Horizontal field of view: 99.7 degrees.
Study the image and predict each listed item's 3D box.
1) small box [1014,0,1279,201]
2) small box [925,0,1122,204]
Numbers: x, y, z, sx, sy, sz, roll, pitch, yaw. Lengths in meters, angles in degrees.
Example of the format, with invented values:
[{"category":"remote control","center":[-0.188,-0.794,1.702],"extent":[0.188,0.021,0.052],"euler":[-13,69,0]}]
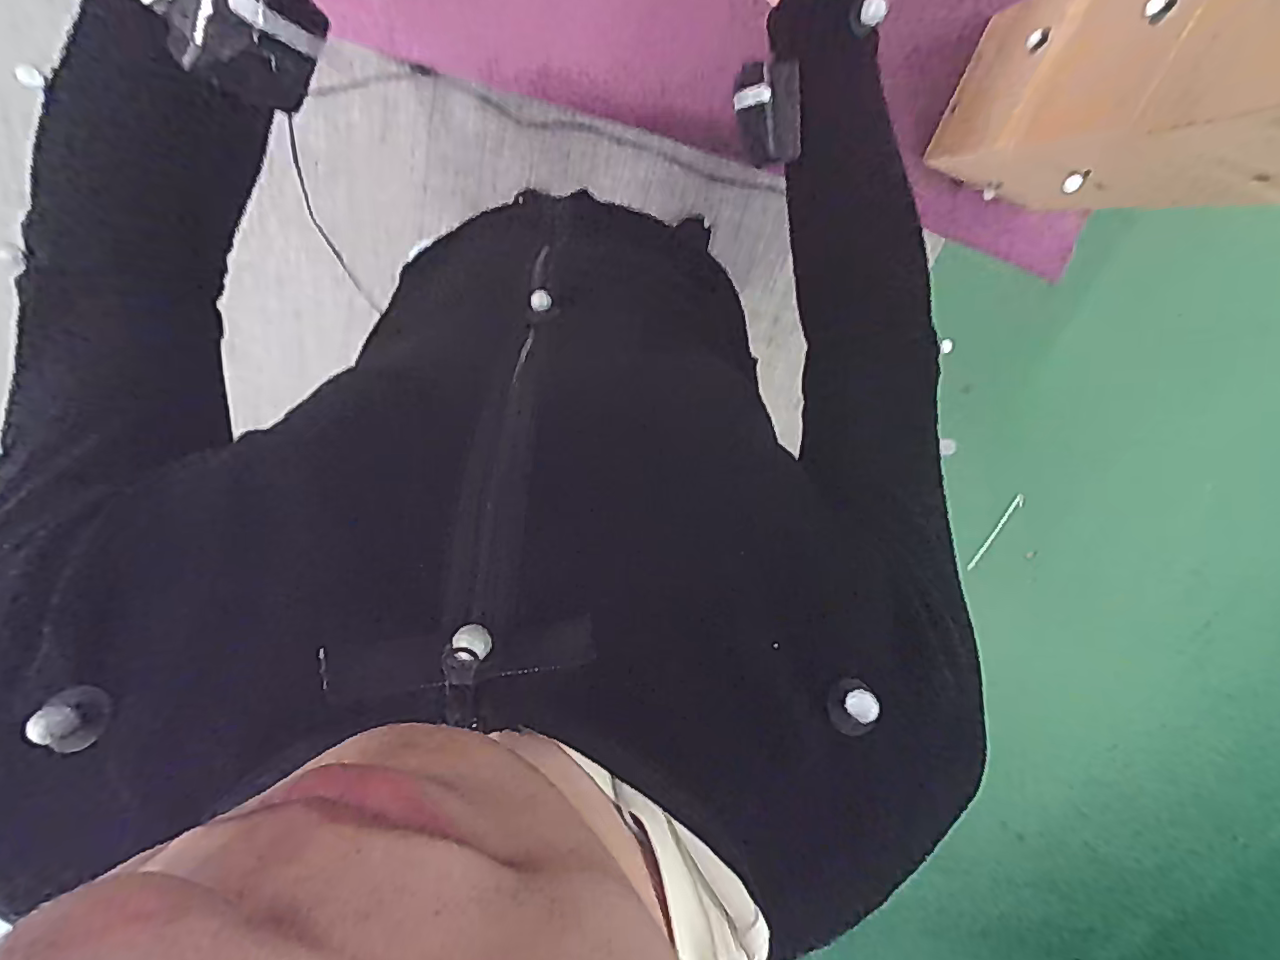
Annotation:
[{"category":"small box","center":[0.486,-0.366,0.475],"extent":[0.168,0.176,0.179],"euler":[17,115,-9]},{"category":"small box","center":[0.479,-0.437,0.622],"extent":[0.179,0.176,0.168],"euler":[17,114,-10]}]
